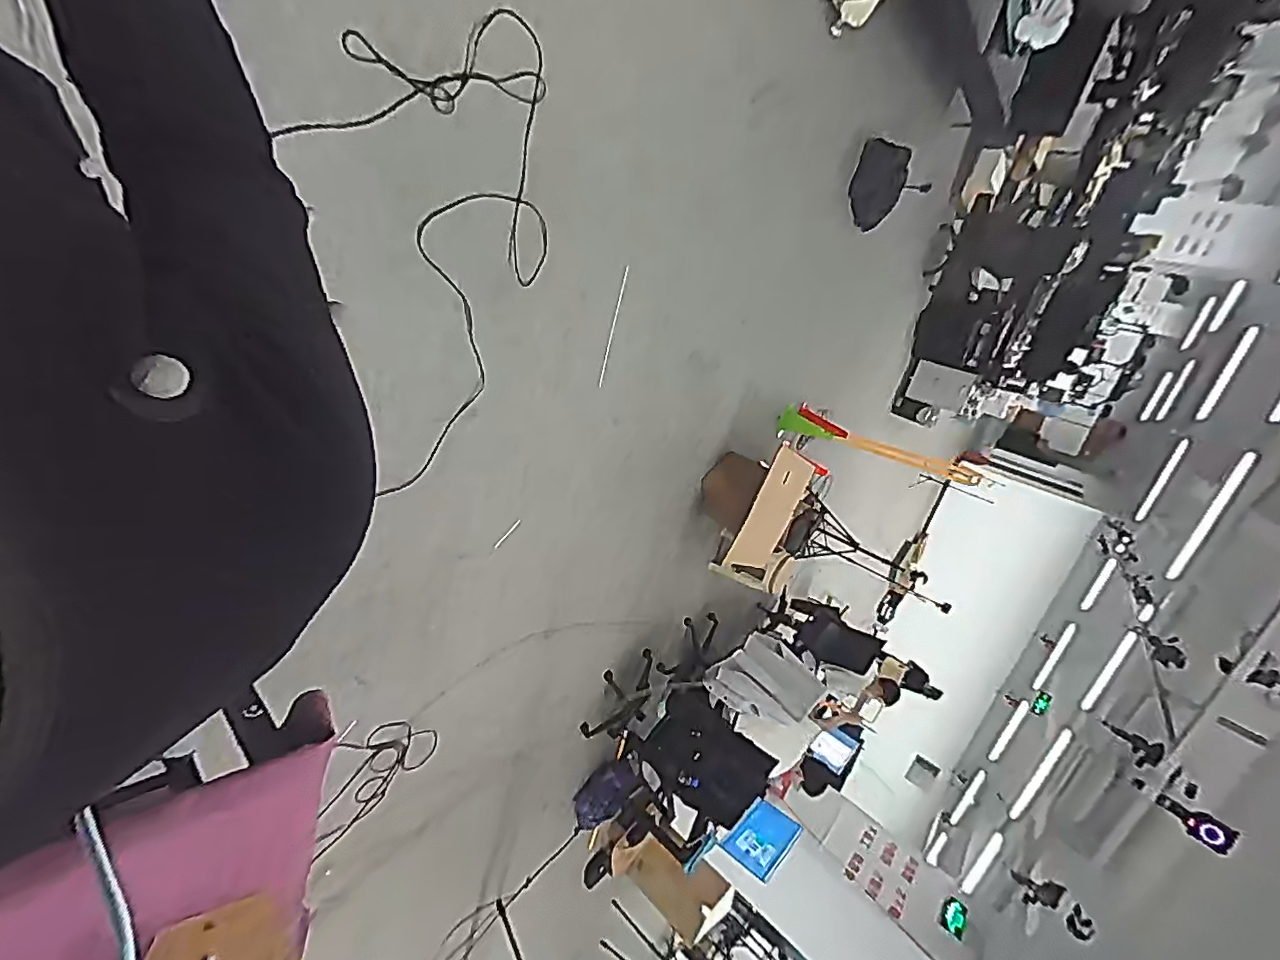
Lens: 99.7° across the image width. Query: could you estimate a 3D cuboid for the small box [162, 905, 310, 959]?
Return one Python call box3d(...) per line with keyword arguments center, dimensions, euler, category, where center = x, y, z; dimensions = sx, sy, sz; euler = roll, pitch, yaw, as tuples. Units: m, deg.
box3d(center=(-0.683, 0.849, 0.883), dimensions=(0.168, 0.176, 0.179), euler=(26, 92, -56), category="small box")
